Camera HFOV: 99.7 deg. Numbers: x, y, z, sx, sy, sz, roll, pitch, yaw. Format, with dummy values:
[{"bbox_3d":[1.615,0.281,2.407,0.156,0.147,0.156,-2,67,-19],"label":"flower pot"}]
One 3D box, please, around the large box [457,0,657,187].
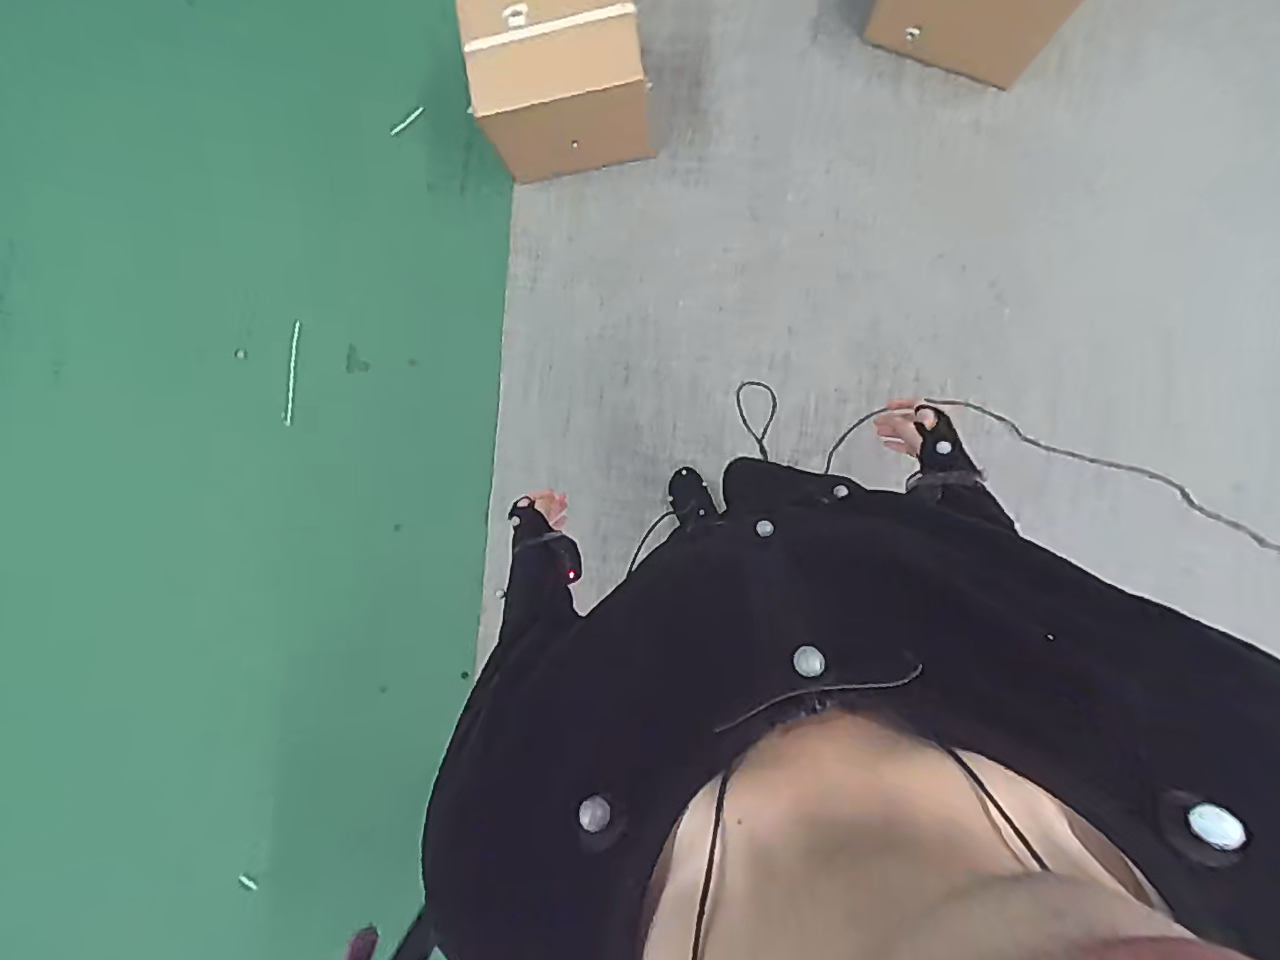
[{"bbox_3d":[-0.189,-1.011,1.379,0.408,0.320,0.320,-8,90,8],"label":"large box"}]
